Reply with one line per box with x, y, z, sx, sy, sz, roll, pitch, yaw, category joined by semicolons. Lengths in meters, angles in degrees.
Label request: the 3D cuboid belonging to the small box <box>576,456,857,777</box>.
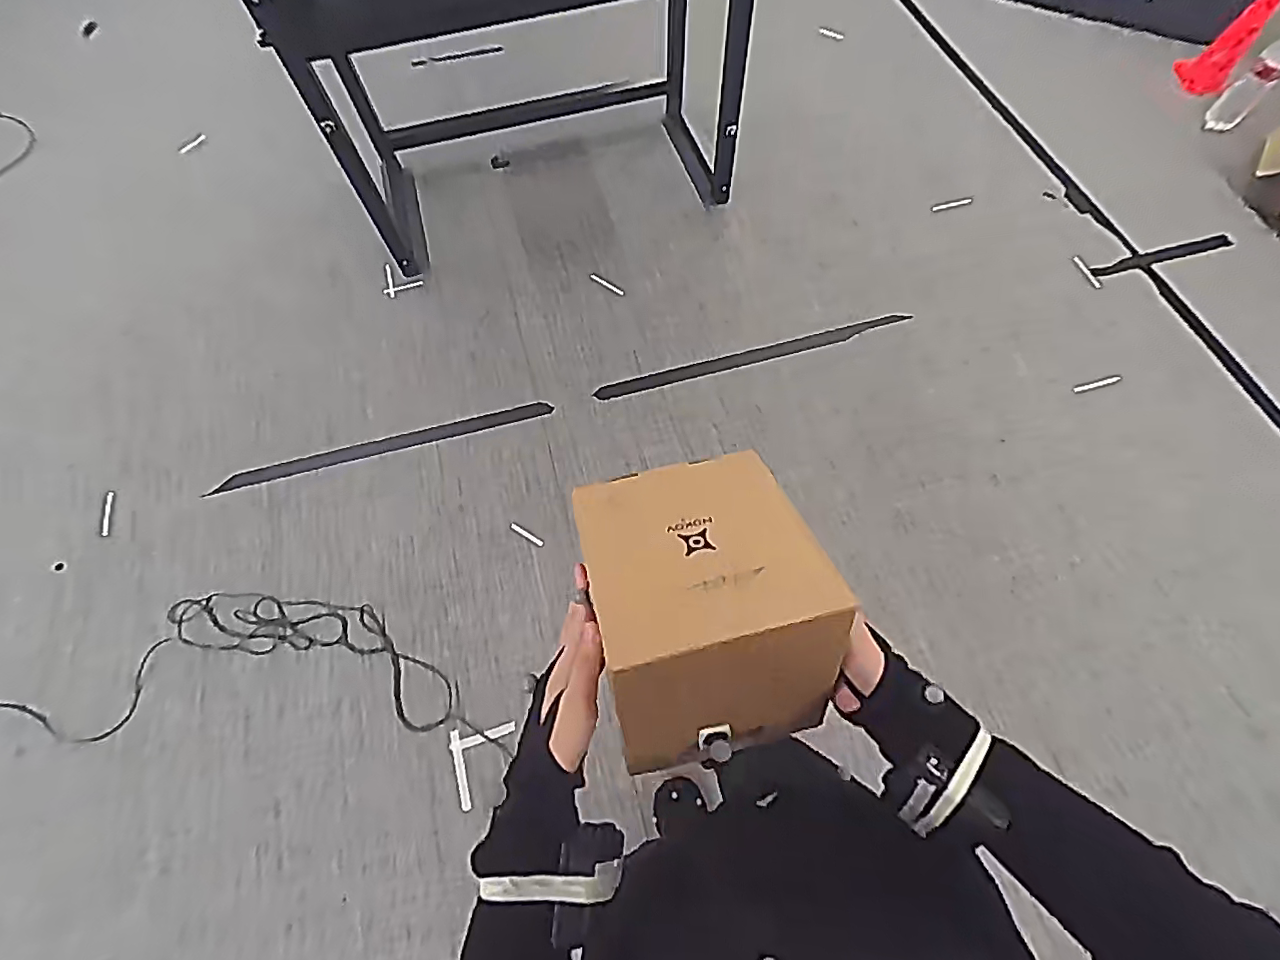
0.048;0.109;0.452;0.168;0.176;0.179;-13;41;-8;small box
